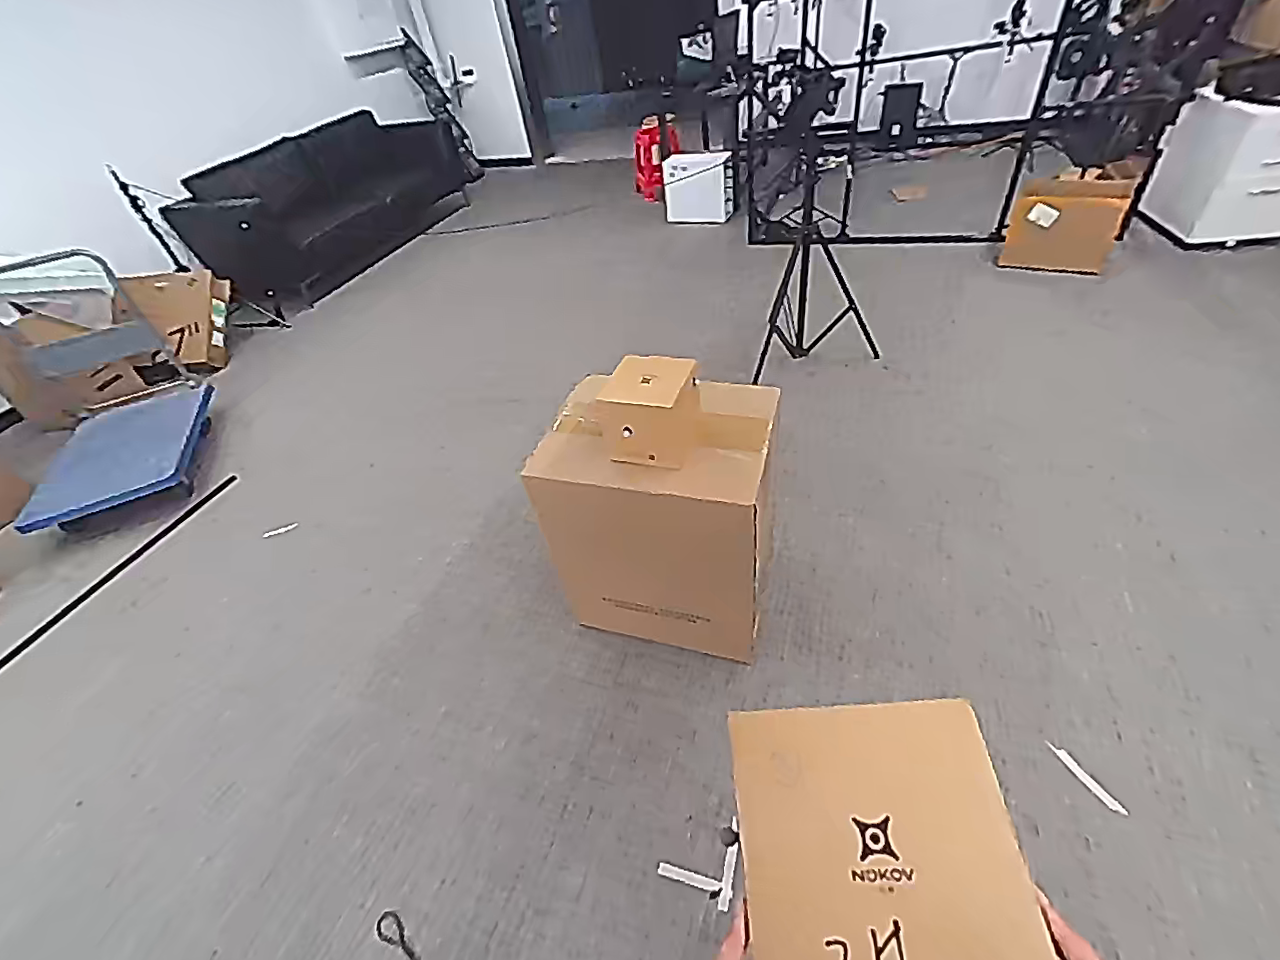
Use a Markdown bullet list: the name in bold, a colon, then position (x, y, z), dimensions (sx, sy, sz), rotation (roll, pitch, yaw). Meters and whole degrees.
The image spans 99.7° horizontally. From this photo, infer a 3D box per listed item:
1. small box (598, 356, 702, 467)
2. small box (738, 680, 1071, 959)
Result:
- **small box**: position (0.031, -0.147, 1.161), dimensions (0.168, 0.176, 0.179), rotation (9, 45, 20)
- **small box**: position (0.164, 0.260, 0.396), dimensions (0.168, 0.176, 0.179), rotation (-7, 56, 9)
